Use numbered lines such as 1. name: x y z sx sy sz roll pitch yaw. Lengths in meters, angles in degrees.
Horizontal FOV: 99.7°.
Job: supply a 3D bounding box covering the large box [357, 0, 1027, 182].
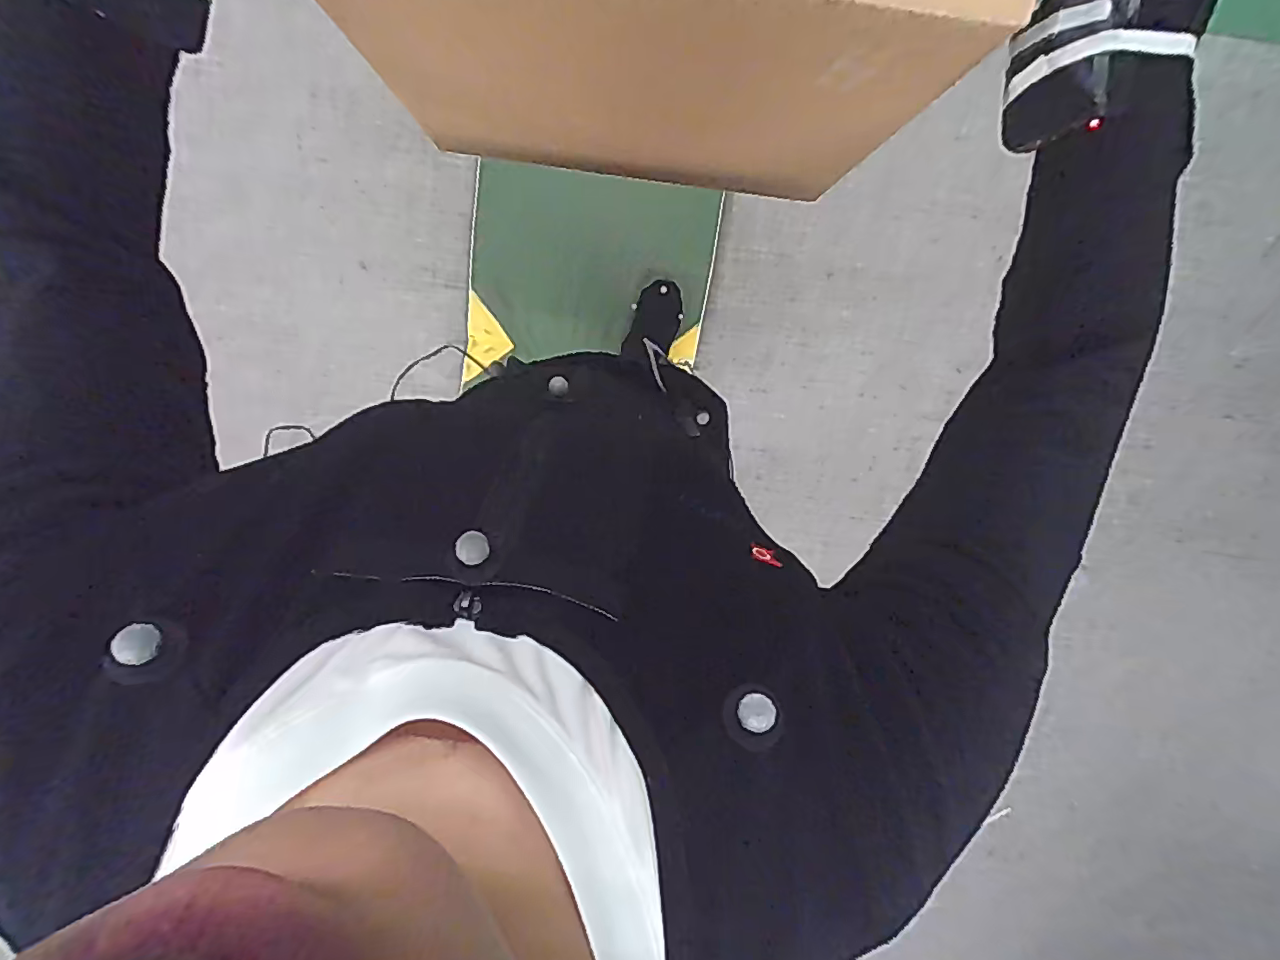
1. large box: 0.021 -0.450 0.395 0.408 0.320 0.320 5 103 -5
